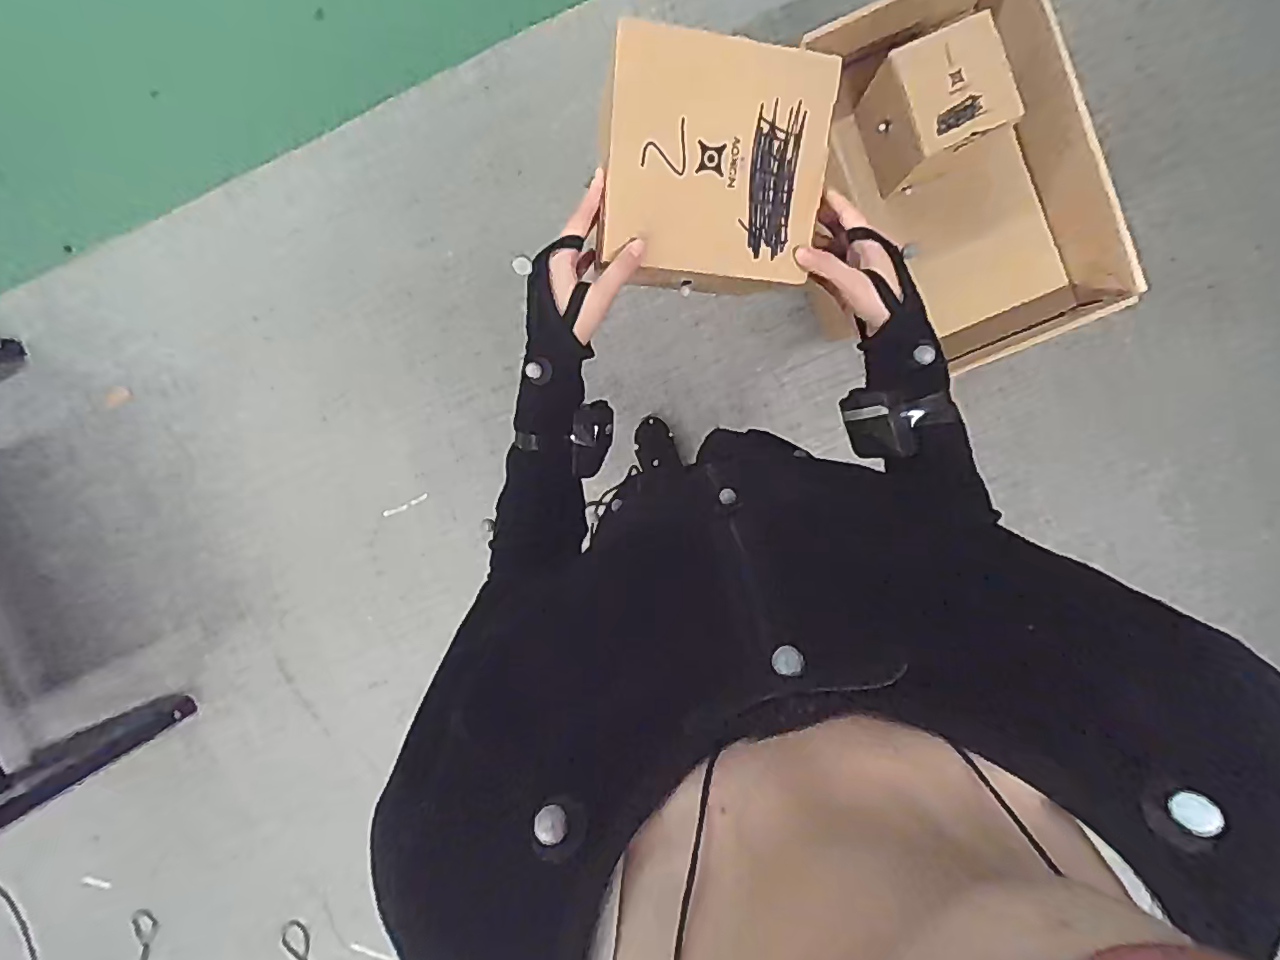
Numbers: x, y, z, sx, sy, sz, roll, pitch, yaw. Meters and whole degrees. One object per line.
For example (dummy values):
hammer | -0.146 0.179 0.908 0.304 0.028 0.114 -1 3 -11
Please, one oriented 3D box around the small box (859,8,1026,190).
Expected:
small box | 0.505 -0.631 0.928 0.168 0.176 0.179 -21 94 4
